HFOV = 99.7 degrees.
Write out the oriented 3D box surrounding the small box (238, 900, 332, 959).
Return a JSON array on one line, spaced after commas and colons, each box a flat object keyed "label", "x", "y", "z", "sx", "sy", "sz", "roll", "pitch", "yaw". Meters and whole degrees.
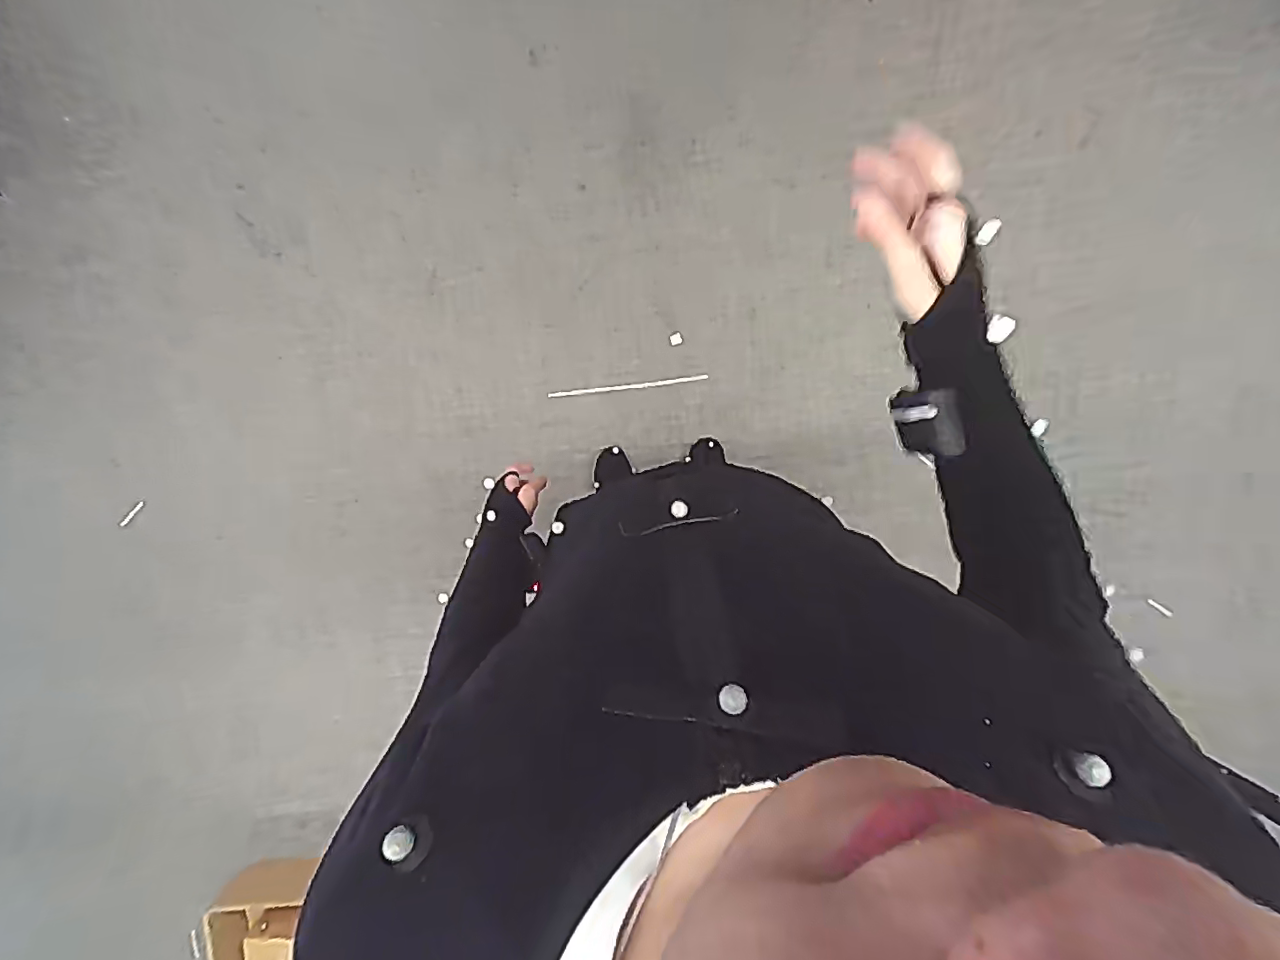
[{"label": "small box", "x": -1.027, "y": 1.374, "z": 1.583, "sx": 0.179, "sy": 0.176, "sz": 0.168, "roll": -2, "pitch": 94, "yaw": 0}]
